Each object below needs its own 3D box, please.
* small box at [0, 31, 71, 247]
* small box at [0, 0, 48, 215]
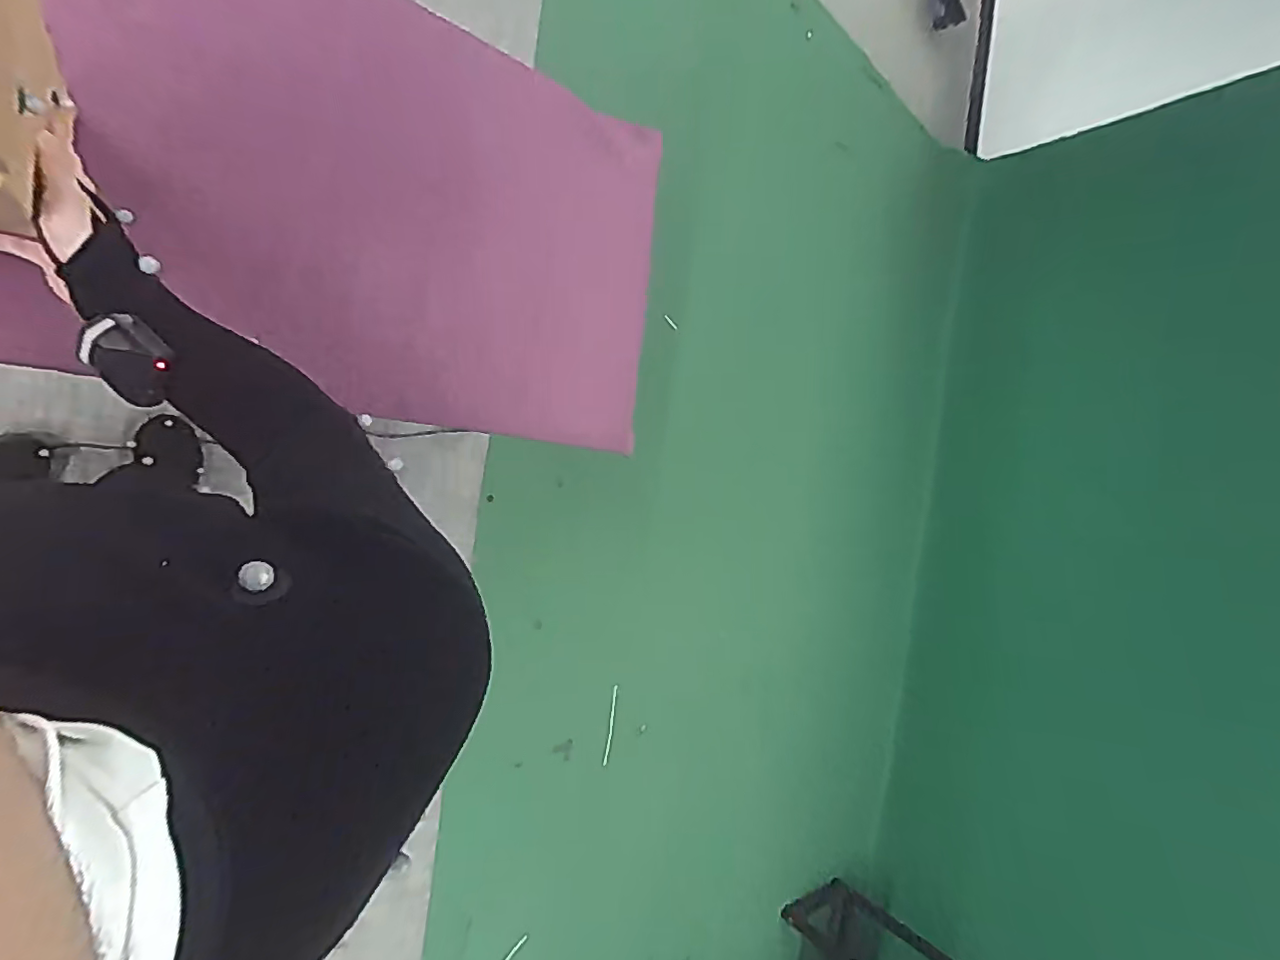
[{"bbox_3d":[-0.651,-0.333,0.495,0.168,0.176,0.179,2,97,-41],"label":"small box"},{"bbox_3d":[-0.543,-0.310,0.373,0.168,0.176,0.179,2,96,-41],"label":"small box"}]
